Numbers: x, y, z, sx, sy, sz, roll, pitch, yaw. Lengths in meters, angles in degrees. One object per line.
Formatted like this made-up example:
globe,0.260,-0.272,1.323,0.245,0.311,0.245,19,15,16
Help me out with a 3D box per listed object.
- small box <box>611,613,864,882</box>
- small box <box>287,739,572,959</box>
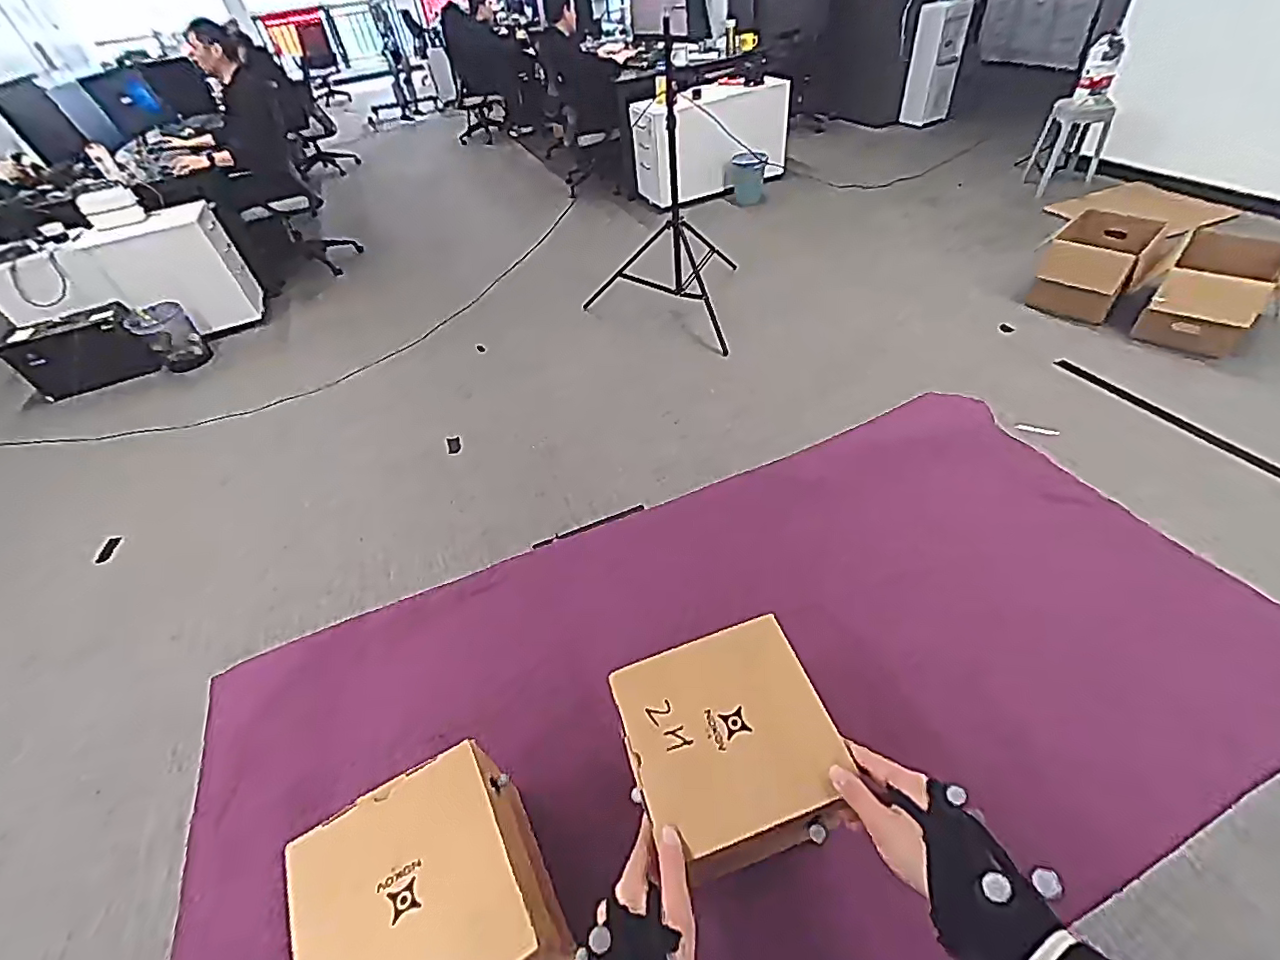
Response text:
small box,0.086,0.265,0.534,0.179,0.176,0.168,-18,48,-6
small box,-0.177,0.378,0.480,0.168,0.176,0.179,-26,47,-17
